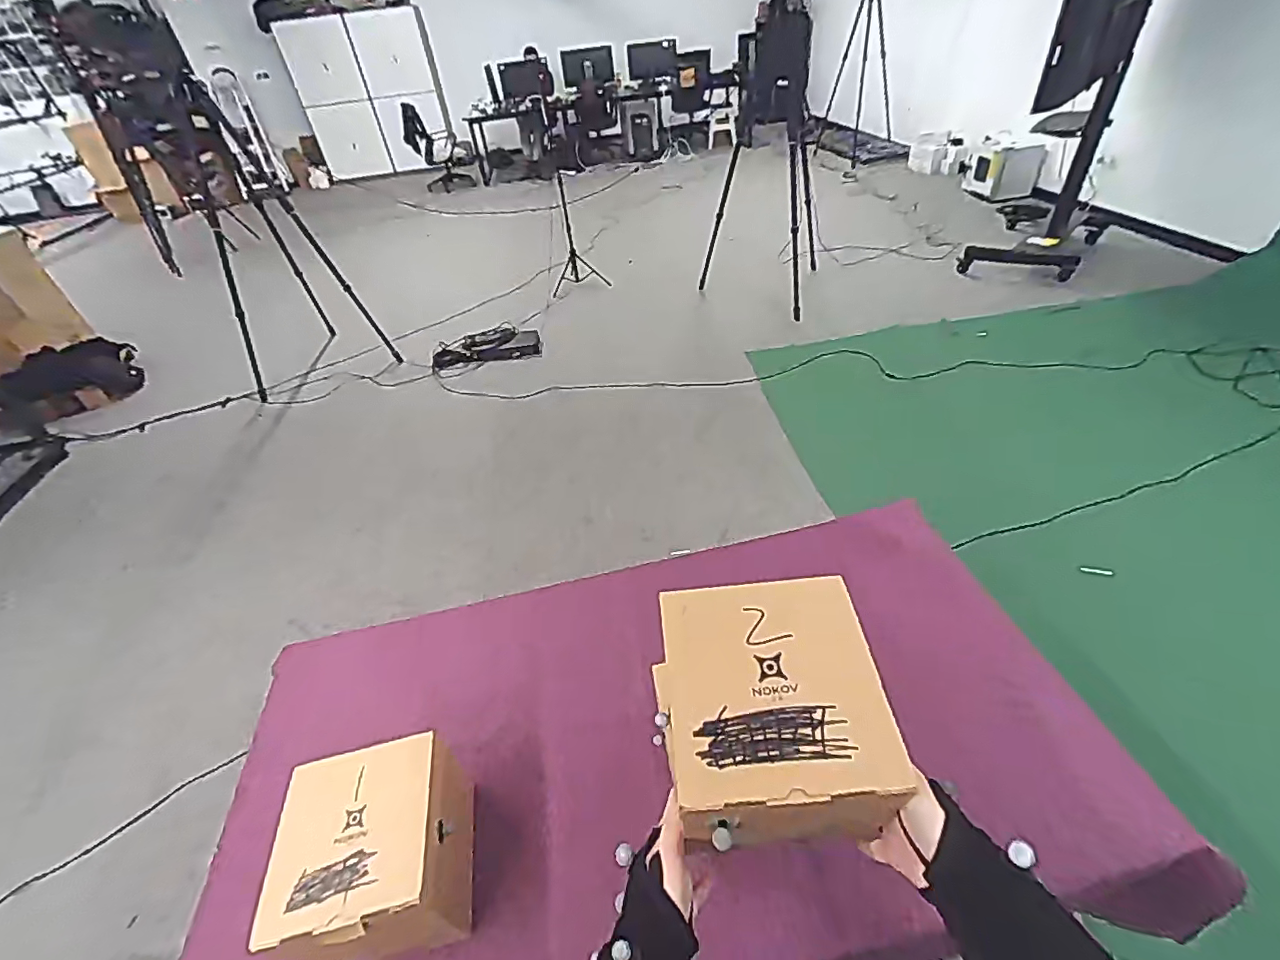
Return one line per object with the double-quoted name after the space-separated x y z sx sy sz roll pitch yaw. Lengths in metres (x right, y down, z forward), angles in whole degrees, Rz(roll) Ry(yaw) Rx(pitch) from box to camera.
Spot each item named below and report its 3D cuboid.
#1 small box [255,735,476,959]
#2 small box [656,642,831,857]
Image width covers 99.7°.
-0.300 0.441 0.638 0.168 0.176 0.179 -13 40 -6 "small box"
0.119 0.338 0.684 0.168 0.176 0.179 -11 41 -2 "small box"
